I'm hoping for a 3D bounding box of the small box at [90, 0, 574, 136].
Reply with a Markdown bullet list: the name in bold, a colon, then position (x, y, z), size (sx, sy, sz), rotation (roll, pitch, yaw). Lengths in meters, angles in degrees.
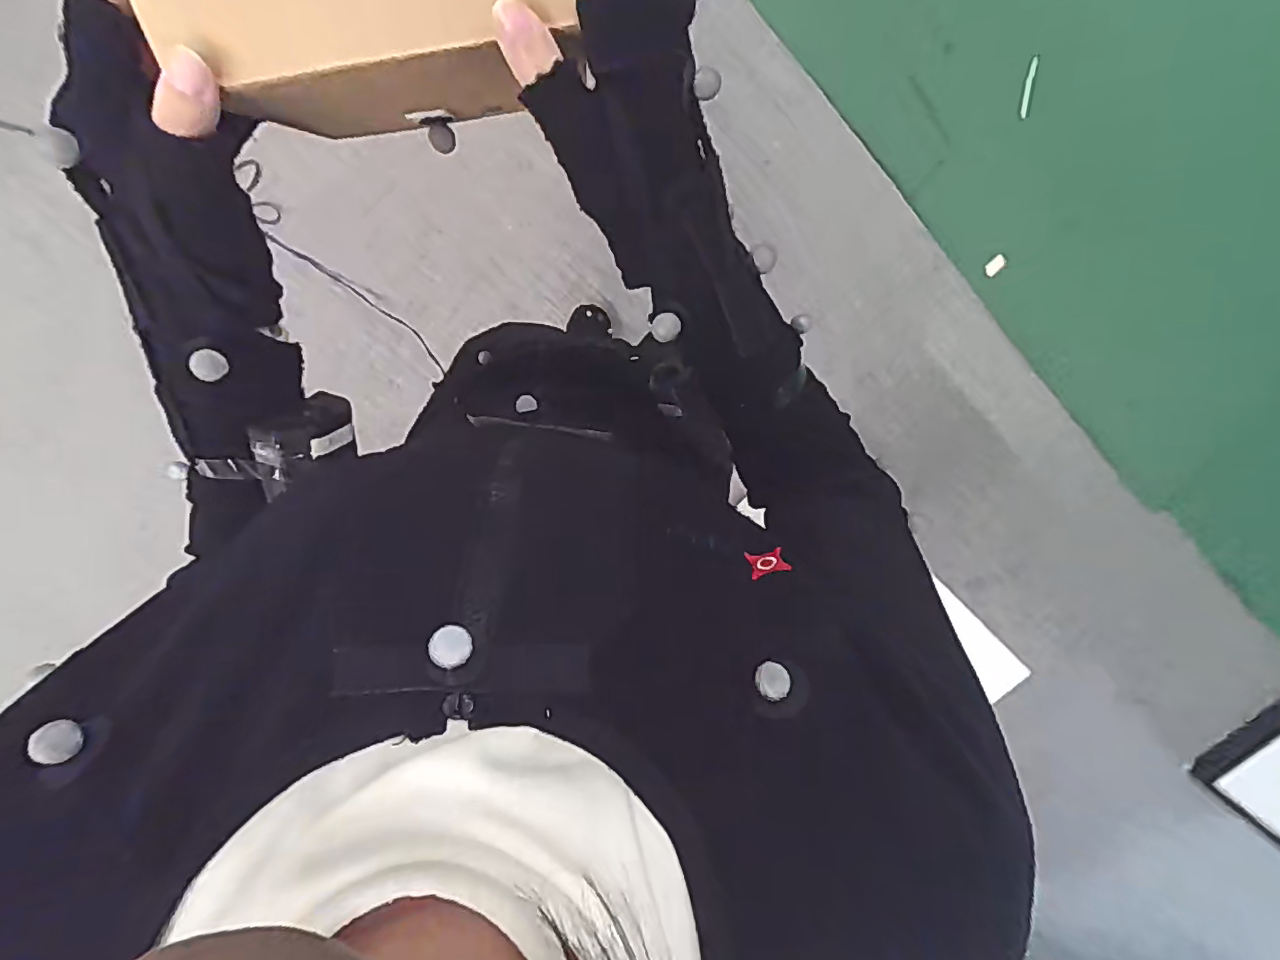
- **small box**: position (-0.126, -0.271, 0.231), size (0.168, 0.176, 0.179), rotation (-11, 117, 0)
